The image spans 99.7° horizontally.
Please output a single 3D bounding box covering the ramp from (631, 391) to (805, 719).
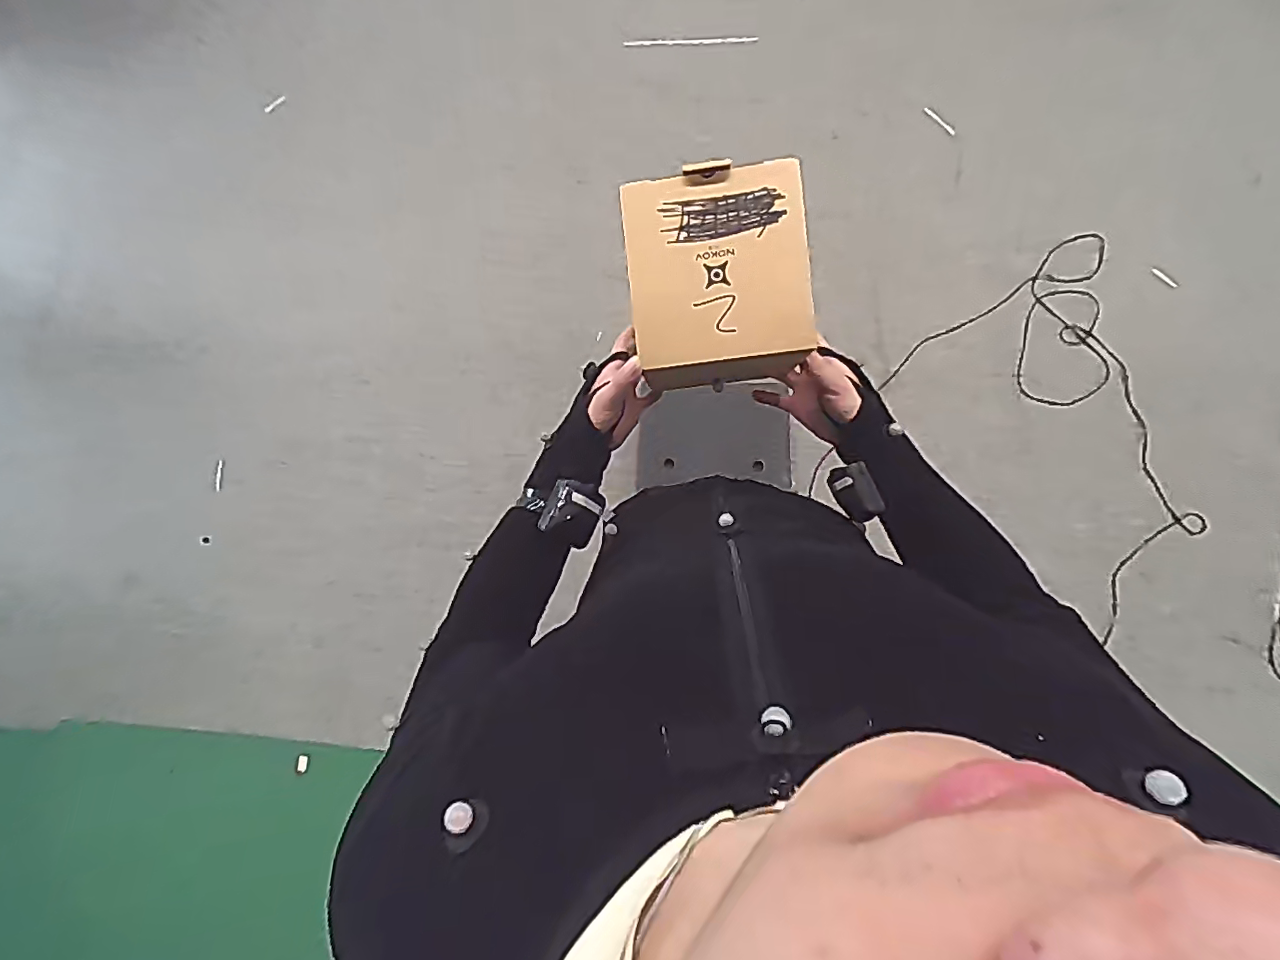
[{"bbox_3d":[0.237,0.183,1.661,0.509,0.206,0.991,0,84,6],"label":"ramp"}]
